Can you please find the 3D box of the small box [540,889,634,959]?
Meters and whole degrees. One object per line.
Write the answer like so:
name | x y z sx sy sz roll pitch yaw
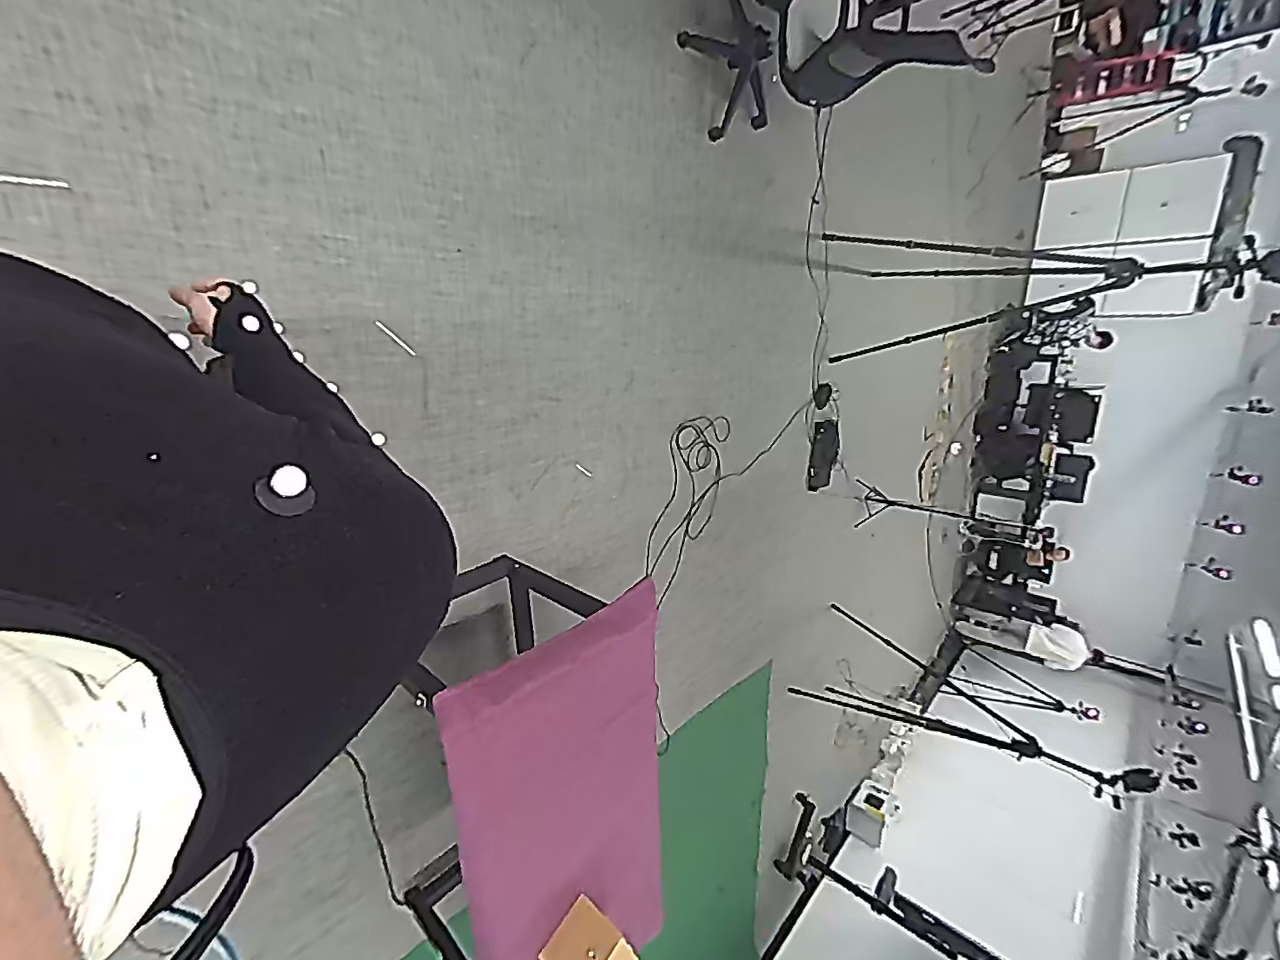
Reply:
small box | -0.151 1.287 1.480 0.179 0.176 0.168 -41 127 -33
